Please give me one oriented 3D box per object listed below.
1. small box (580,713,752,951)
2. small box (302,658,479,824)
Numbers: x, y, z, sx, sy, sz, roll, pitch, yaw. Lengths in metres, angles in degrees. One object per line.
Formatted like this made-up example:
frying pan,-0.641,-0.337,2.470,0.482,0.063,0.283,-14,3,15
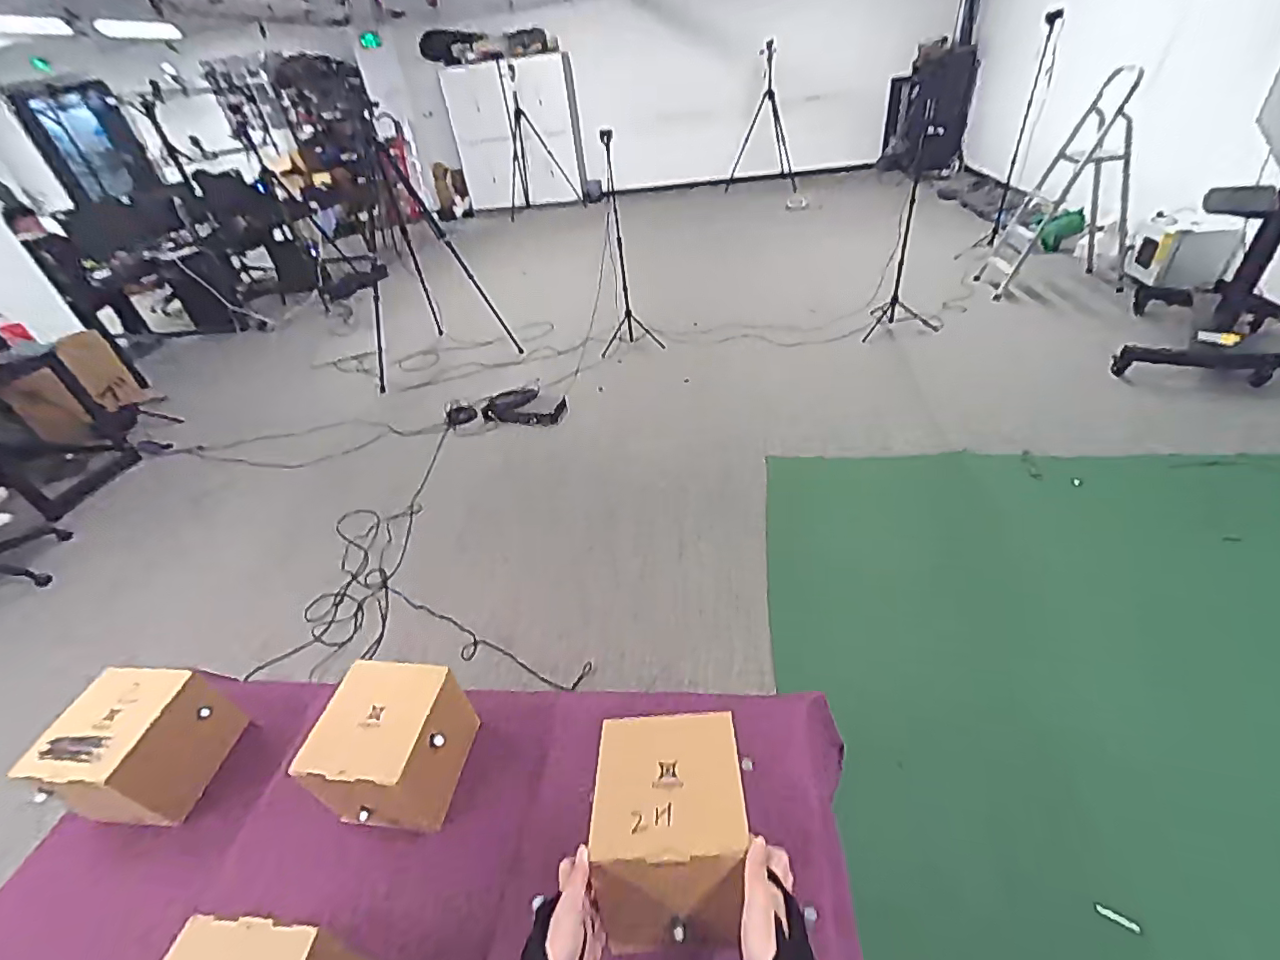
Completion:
small box,0.037,0.410,0.645,0.168,0.176,0.179,-7,22,7
small box,-0.374,0.409,0.854,0.168,0.176,0.179,0,41,11
